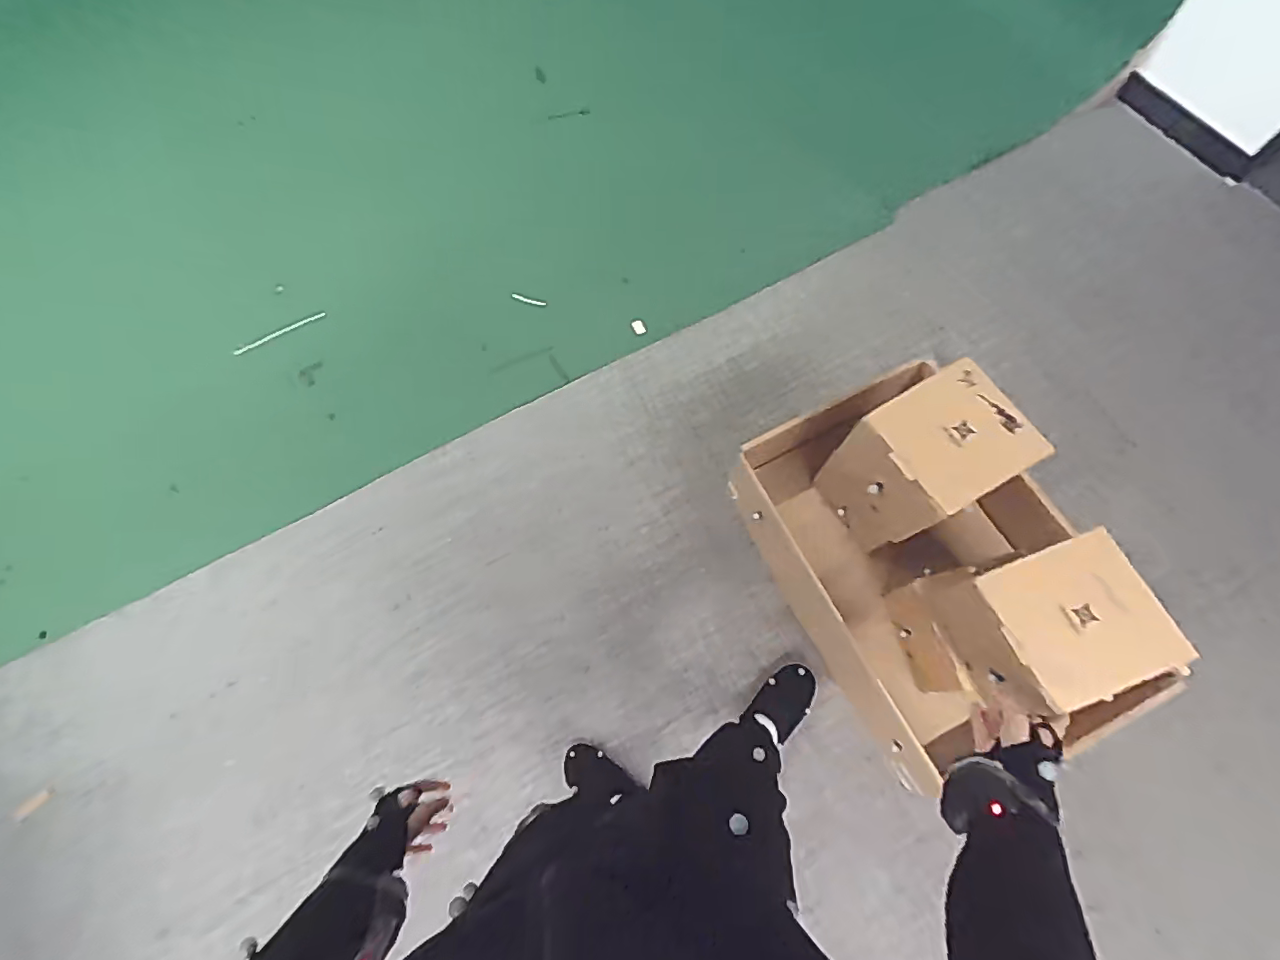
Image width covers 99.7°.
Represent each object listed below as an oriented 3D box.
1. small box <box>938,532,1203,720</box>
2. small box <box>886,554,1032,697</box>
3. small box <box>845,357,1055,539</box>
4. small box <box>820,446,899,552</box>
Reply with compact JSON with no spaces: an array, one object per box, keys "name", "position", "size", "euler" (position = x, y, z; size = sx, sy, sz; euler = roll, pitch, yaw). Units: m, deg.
[{"name":"small box","position":[0.516,0.189,0.689],"size":[0.179,0.176,0.168],"euler":[-21,70,-1]},{"name":"small box","position":[0.523,0.230,0.848],"size":[0.179,0.176,0.168],"euler":[-17,69,1]},{"name":"small box","position":[0.417,-0.034,0.771],"size":[0.179,0.176,0.168],"euler":[-30,72,-4]},{"name":"small box","position":[0.440,0.002,0.931],"size":[0.179,0.176,0.168],"euler":[-30,72,-5]}]
